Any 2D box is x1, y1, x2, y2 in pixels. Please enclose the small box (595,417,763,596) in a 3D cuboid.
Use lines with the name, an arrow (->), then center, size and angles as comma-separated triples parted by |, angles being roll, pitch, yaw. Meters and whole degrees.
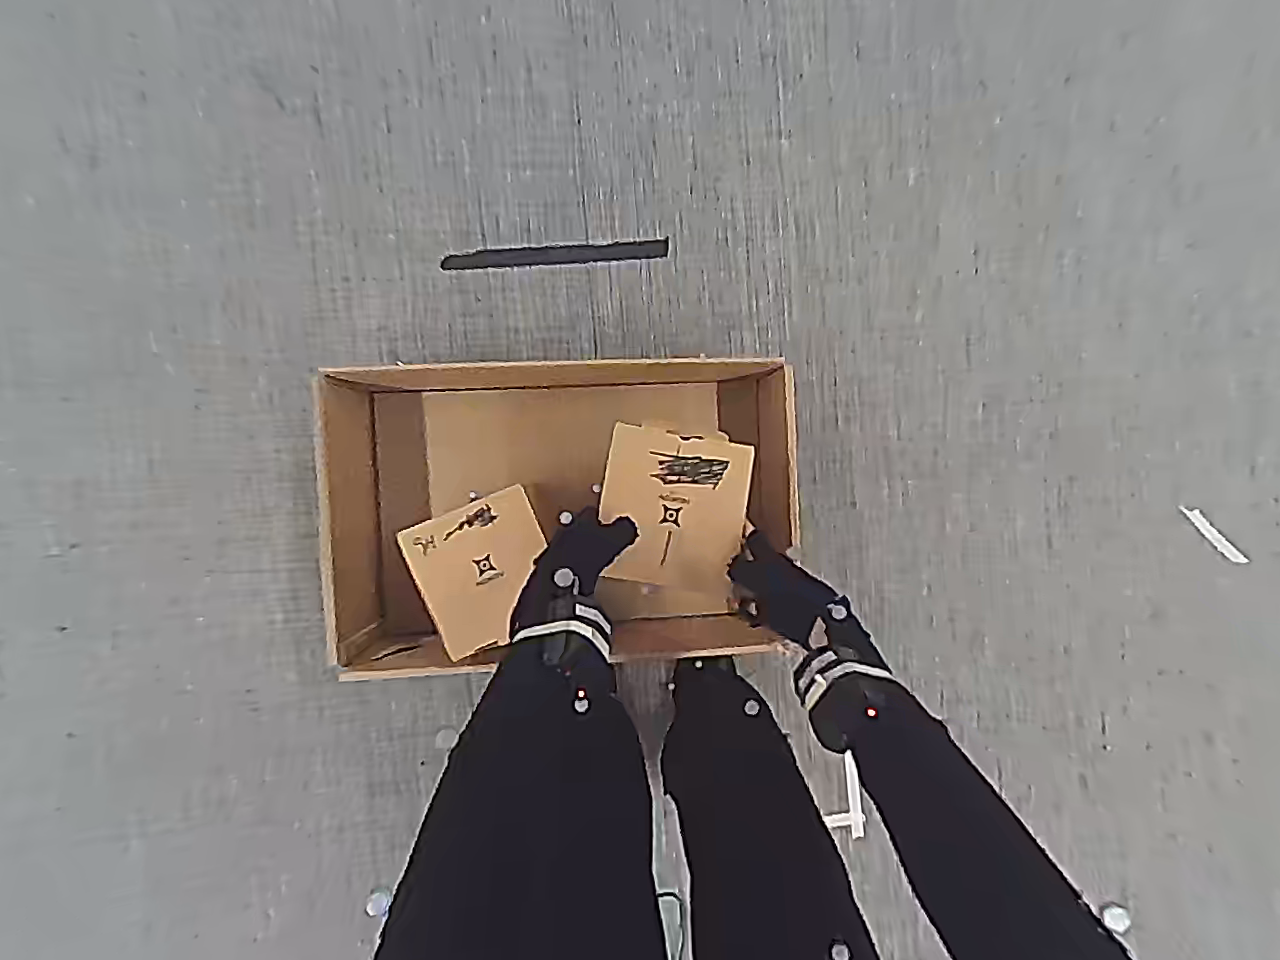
small box -> 0.040, 0.039, 0.669 | 0.168, 0.176, 0.179 | 10, 81, -2
